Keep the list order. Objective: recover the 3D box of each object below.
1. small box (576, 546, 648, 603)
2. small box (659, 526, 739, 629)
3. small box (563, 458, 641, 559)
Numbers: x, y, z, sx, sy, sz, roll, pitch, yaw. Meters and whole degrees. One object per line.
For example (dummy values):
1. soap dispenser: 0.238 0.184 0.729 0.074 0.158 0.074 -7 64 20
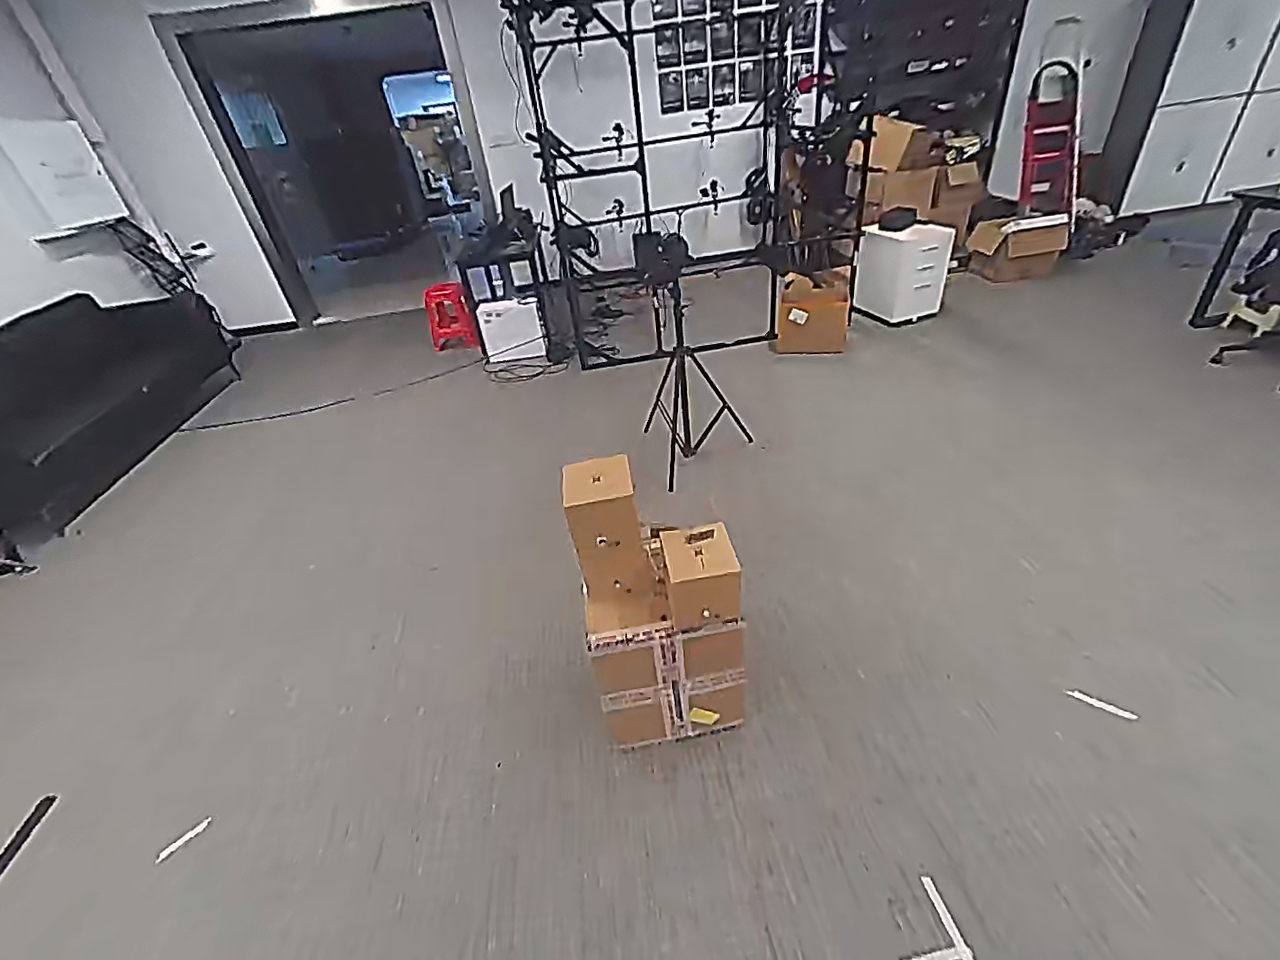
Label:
1. small box: -0.076 0.200 1.442 0.168 0.176 0.179 -11 36 -1
2. small box: 0.143 0.242 1.343 0.168 0.176 0.179 -9 37 -3
3. small box: -0.095 0.070 1.346 0.168 0.176 0.179 -11 37 -1
